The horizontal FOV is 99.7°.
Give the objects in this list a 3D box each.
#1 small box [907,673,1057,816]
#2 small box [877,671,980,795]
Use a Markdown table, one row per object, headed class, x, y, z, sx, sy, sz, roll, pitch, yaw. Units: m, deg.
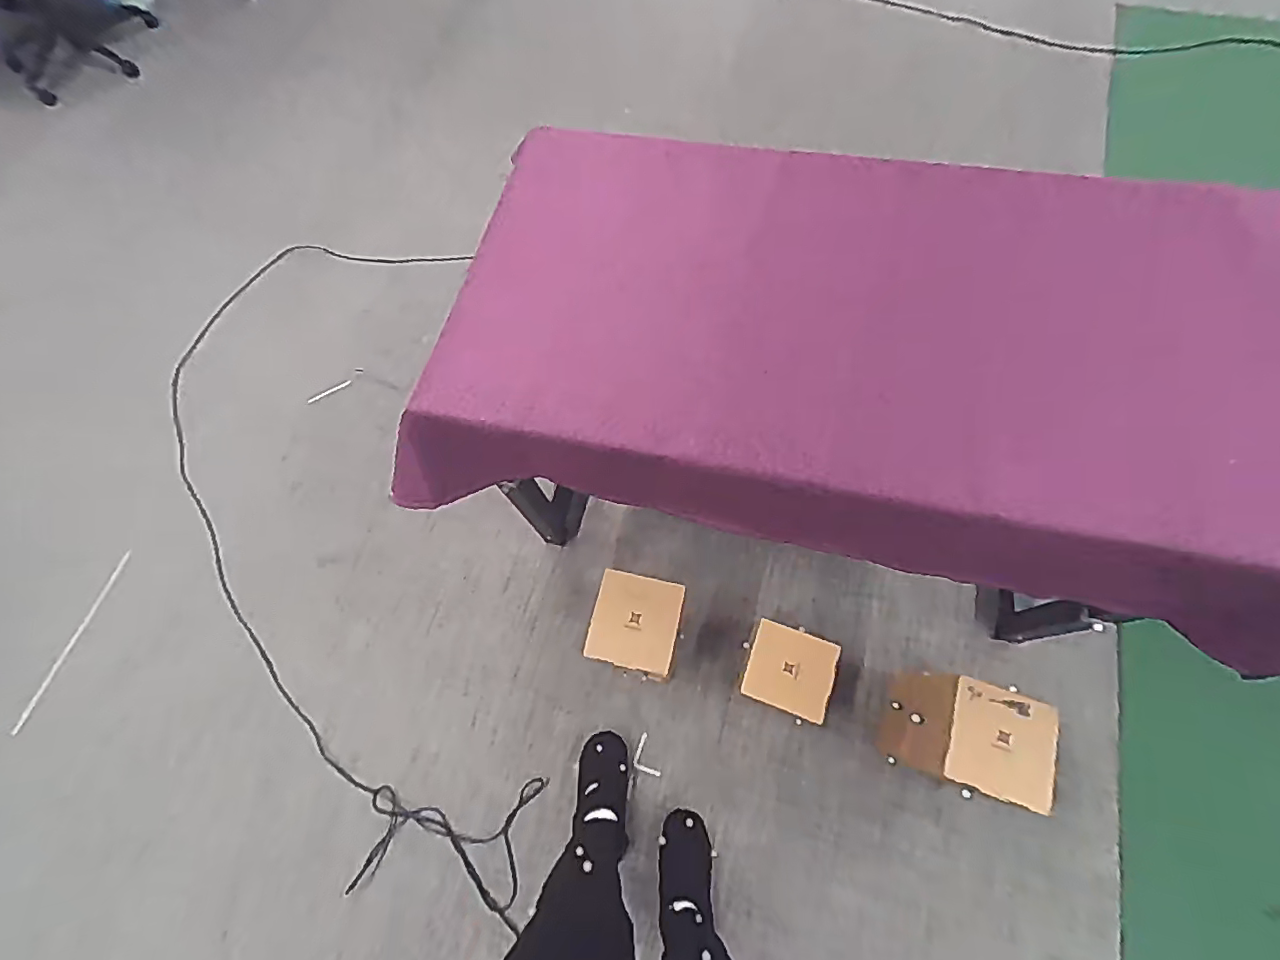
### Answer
| class | x | y | z | sx | sy | sz | roll | pitch | yaw |
| --- | --- | --- | --- | --- | --- | --- | --- | --- | --- |
| small box | 0.611 | 0.471 | 0.986 | 0.168 | 0.176 | 0.179 | 19 | 71 | 12 |
| small box | 0.622 | 0.526 | 1.141 | 0.168 | 0.176 | 0.179 | 22 | 71 | 13 |
